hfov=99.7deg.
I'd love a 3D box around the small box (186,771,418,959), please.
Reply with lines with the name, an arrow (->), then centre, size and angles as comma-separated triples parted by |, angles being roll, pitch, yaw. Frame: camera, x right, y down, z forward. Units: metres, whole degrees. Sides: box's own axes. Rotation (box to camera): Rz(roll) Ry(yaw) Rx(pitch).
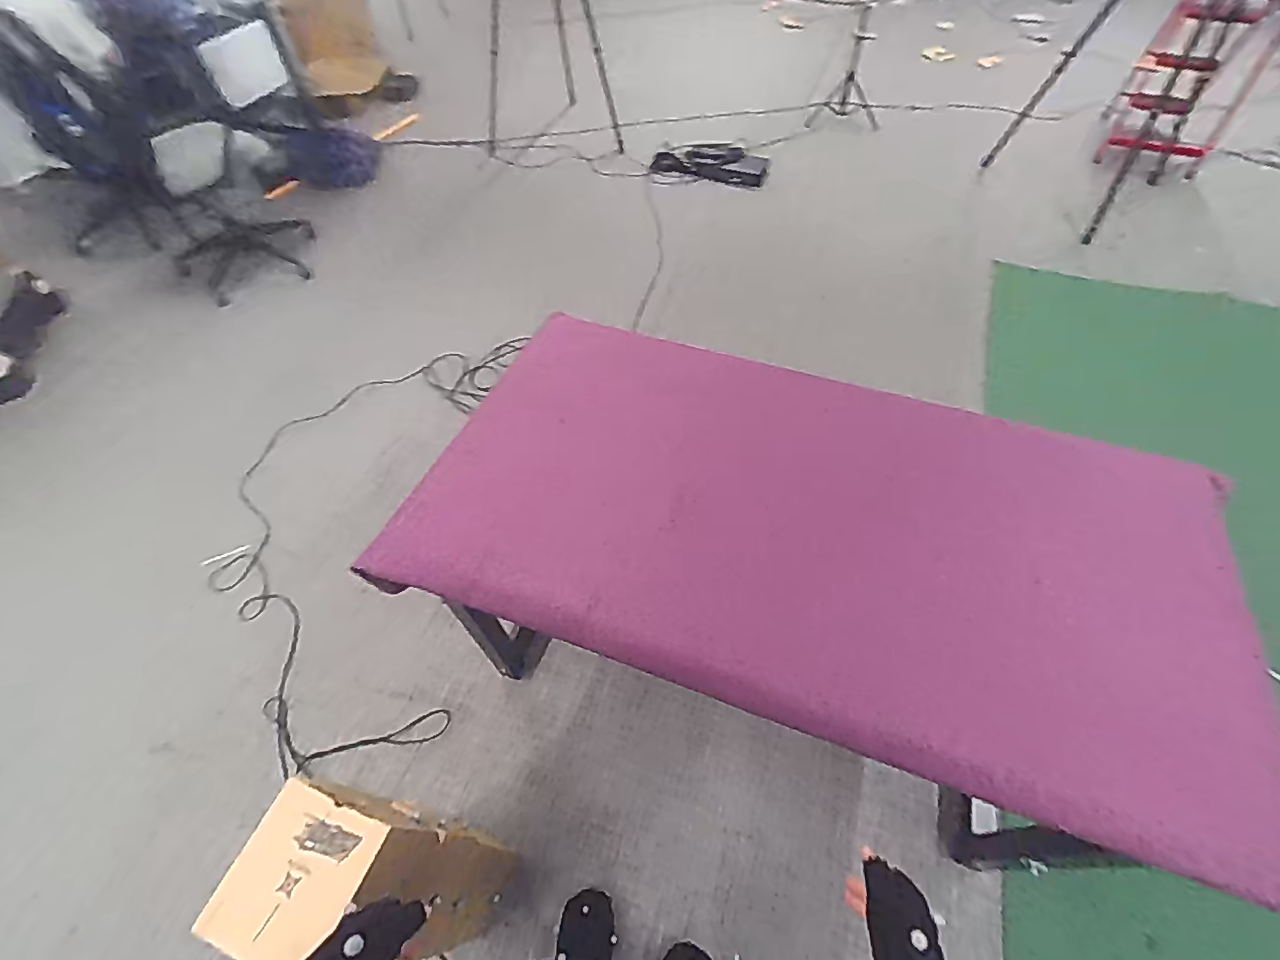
small box -> -0.428, 0.523, 0.726 | 0.168, 0.176, 0.179 | 18, 59, 14
